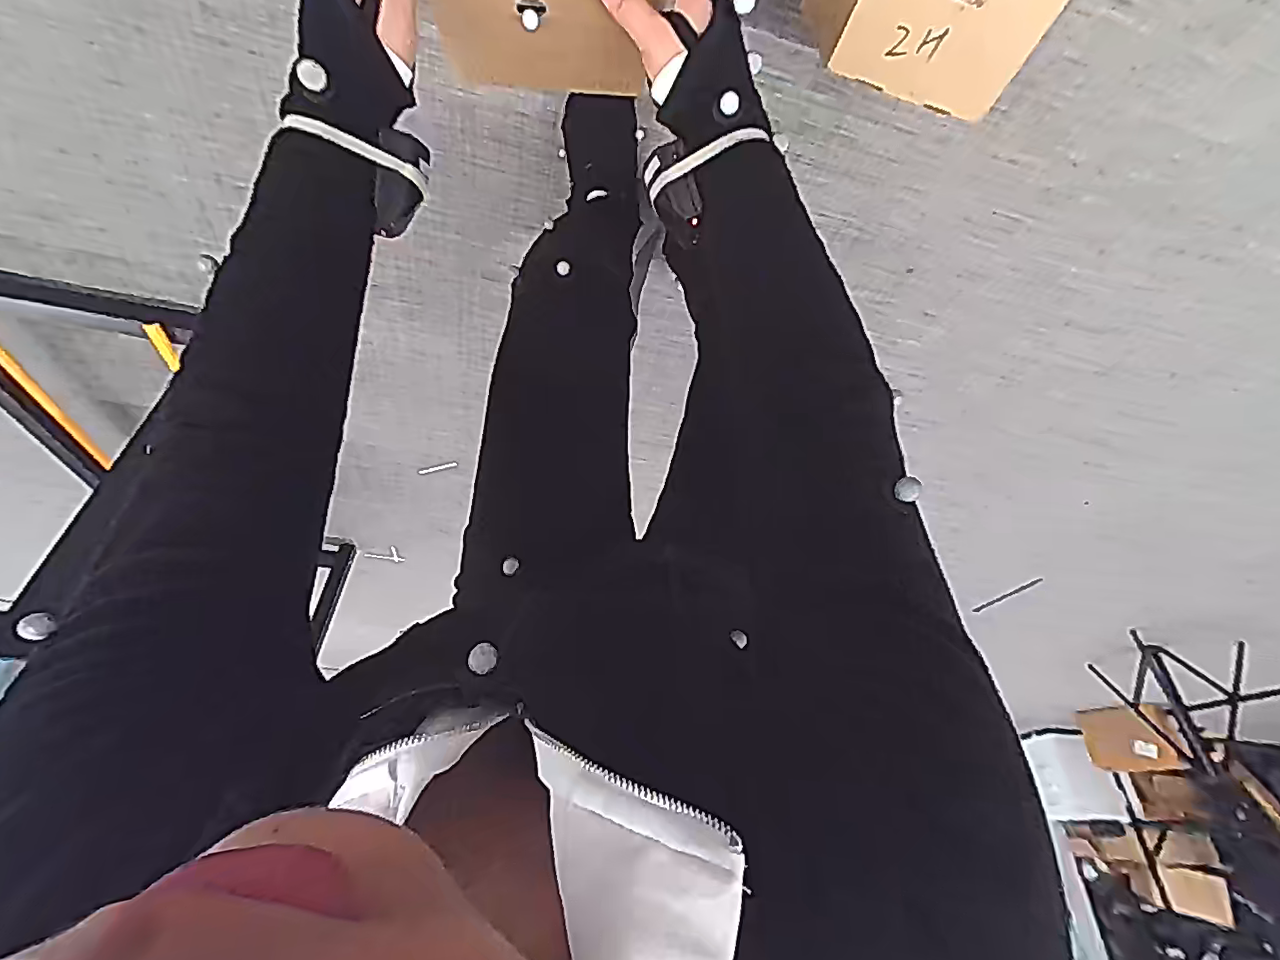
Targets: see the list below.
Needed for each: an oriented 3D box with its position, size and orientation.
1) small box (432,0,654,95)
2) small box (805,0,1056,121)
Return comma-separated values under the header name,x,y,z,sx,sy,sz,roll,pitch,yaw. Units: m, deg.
name,x,y,z,sx,sy,sz,roll,pitch,yaw
small box,-0.078,-0.435,0.426,0.179,0.176,0.168,-2,102,-7
small box,0.265,-0.473,0.482,0.168,0.176,0.179,11,145,-12
